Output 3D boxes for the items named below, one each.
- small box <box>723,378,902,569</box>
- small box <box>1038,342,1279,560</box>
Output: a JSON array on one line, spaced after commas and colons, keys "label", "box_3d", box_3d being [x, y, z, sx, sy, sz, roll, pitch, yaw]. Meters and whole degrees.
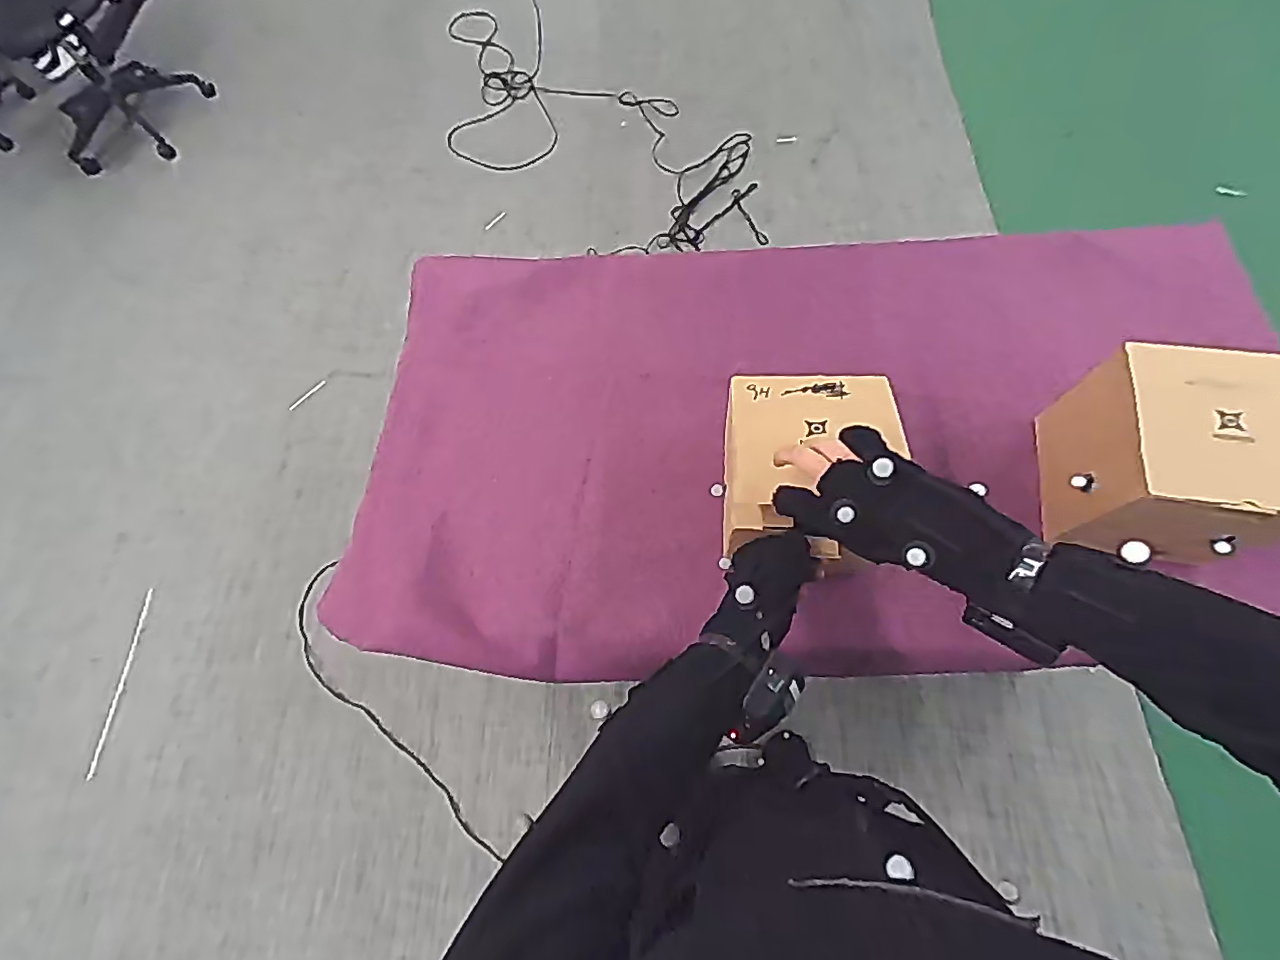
[{"label": "small box", "box_3d": [0.184, 0.001, 0.624, 0.168, 0.176, 0.179, 1, 68, 7]}, {"label": "small box", "box_3d": [0.570, -0.022, 0.589, 0.168, 0.176, 0.179, 8, 69, 10]}]
